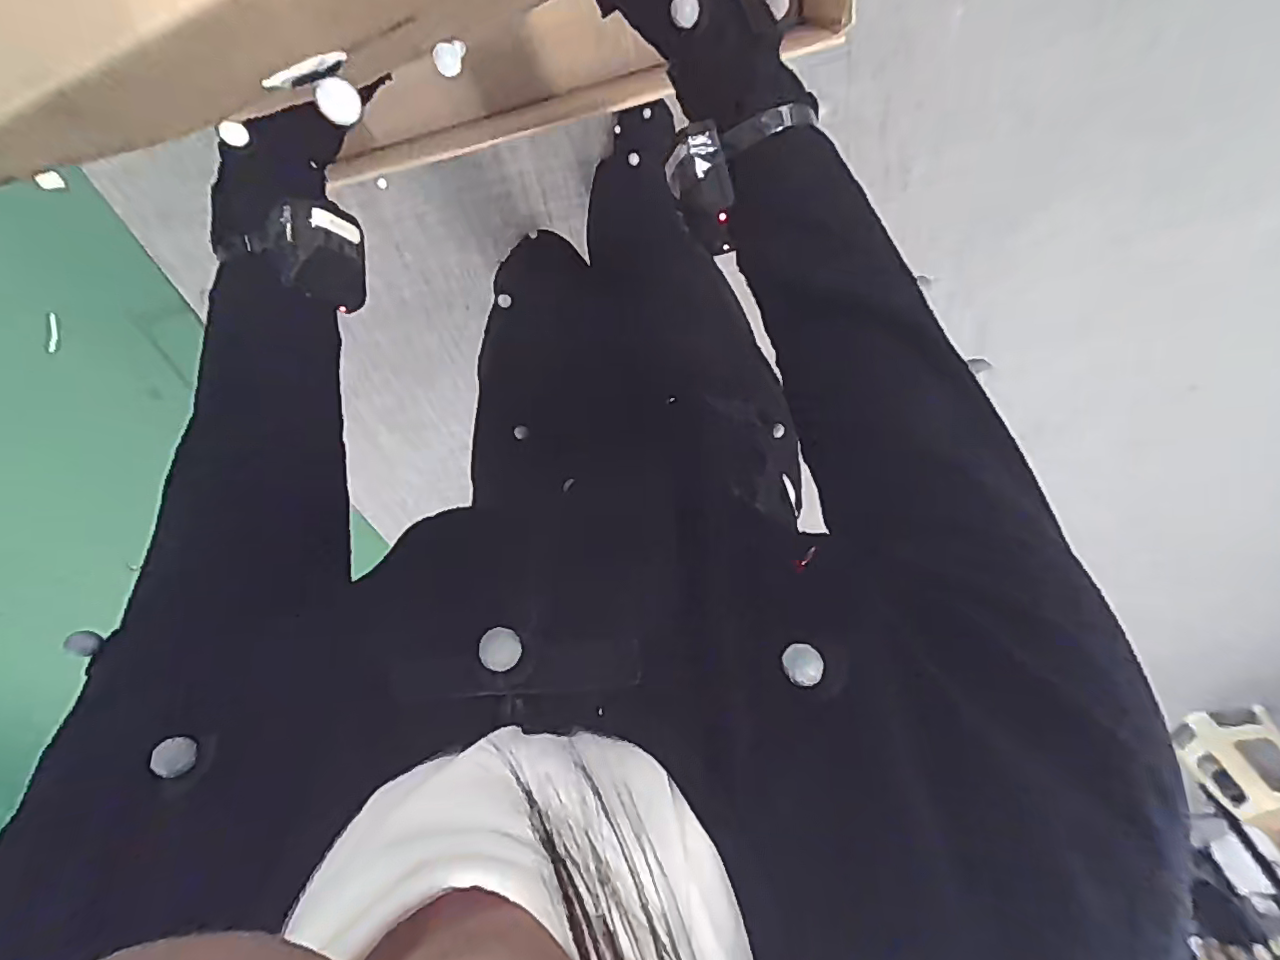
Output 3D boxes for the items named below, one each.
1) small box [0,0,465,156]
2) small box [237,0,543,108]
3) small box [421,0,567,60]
[{"bbox_3d":[-0.137,-0.196,0.115,0.168,0.176,0.179,-16,130,13],"label":"small box"},{"bbox_3d":[-0.140,-0.300,0.238,0.168,0.176,0.179,-16,129,12],"label":"small box"},{"bbox_3d":[-0.143,-0.411,0.360,0.168,0.176,0.179,-16,128,13],"label":"small box"}]
